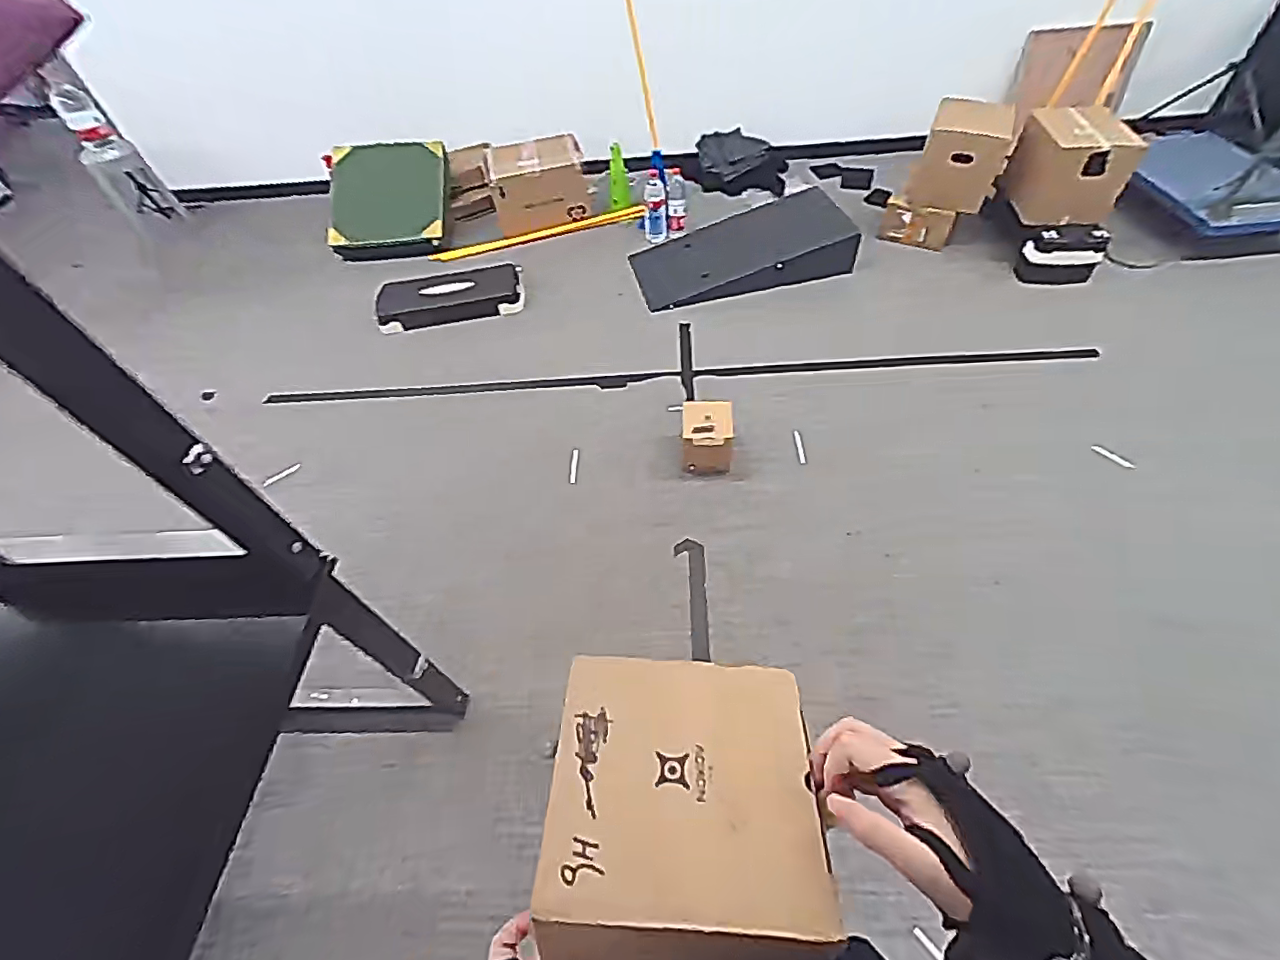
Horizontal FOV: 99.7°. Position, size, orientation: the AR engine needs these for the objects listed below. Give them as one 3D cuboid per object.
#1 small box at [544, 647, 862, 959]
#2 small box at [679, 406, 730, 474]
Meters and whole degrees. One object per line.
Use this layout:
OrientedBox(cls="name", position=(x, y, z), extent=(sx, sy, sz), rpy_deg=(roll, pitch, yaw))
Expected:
OrientedBox(cls="small box", position=(0.032, 0.251, 0.400), extent=(0.179, 0.176, 0.168), rpy_deg=(6, 38, 0))
OrientedBox(cls="small box", position=(0.219, -0.135, 1.852), extent=(0.168, 0.176, 0.179), rpy_deg=(0, 51, 4))
